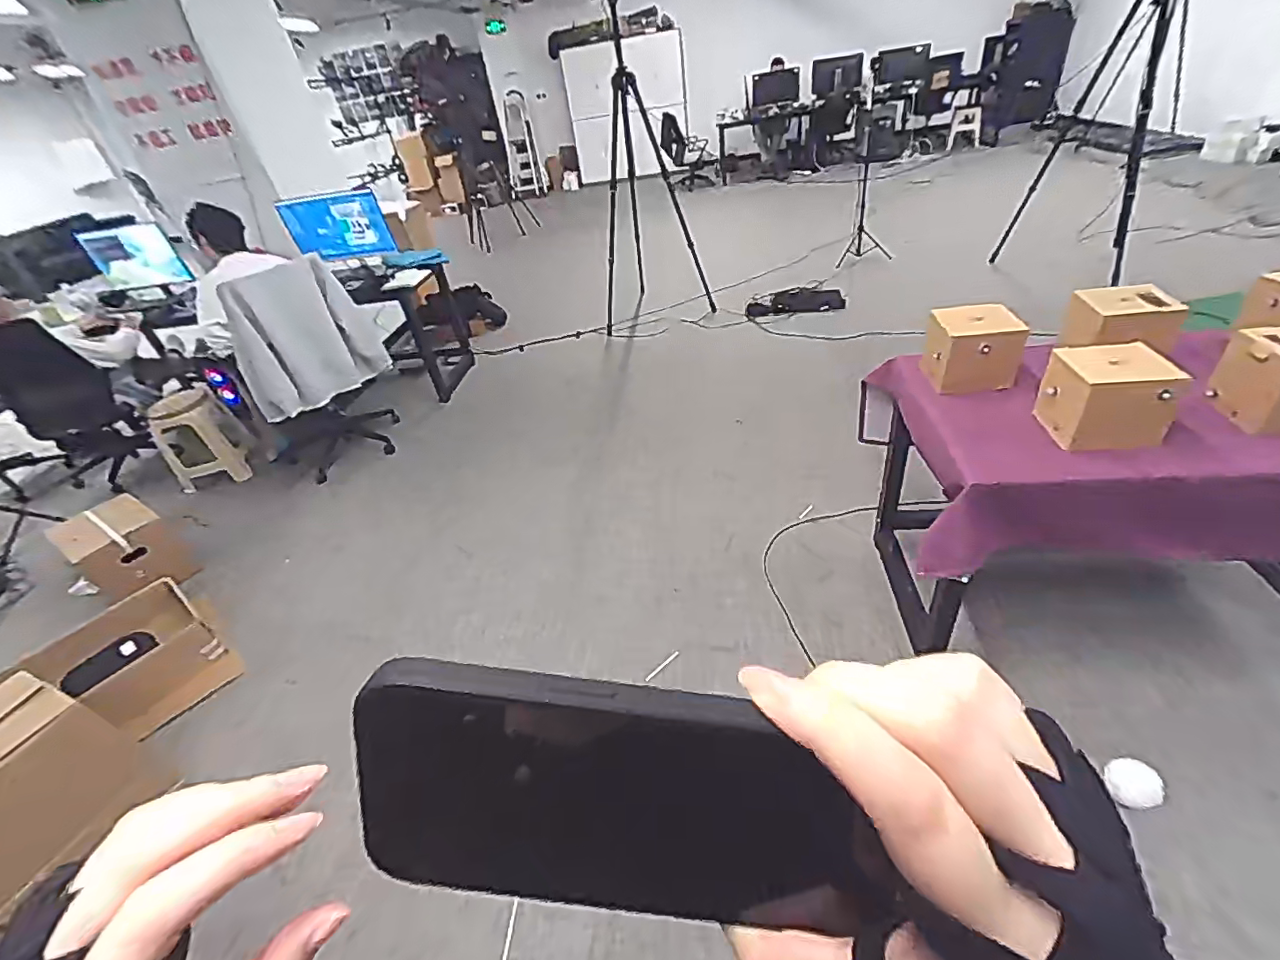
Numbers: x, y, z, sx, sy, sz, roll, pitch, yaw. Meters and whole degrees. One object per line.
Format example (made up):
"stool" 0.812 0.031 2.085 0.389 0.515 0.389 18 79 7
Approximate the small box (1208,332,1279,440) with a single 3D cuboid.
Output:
"small box" 1.340 -0.193 1.112 0.179 0.176 0.168 0 38 12

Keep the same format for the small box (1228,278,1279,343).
"small box" 1.595 -0.380 1.294 0.168 0.176 0.179 -5 38 8

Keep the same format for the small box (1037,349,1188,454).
"small box" 0.992 -0.166 1.161 0.179 0.176 0.168 -1 37 10
